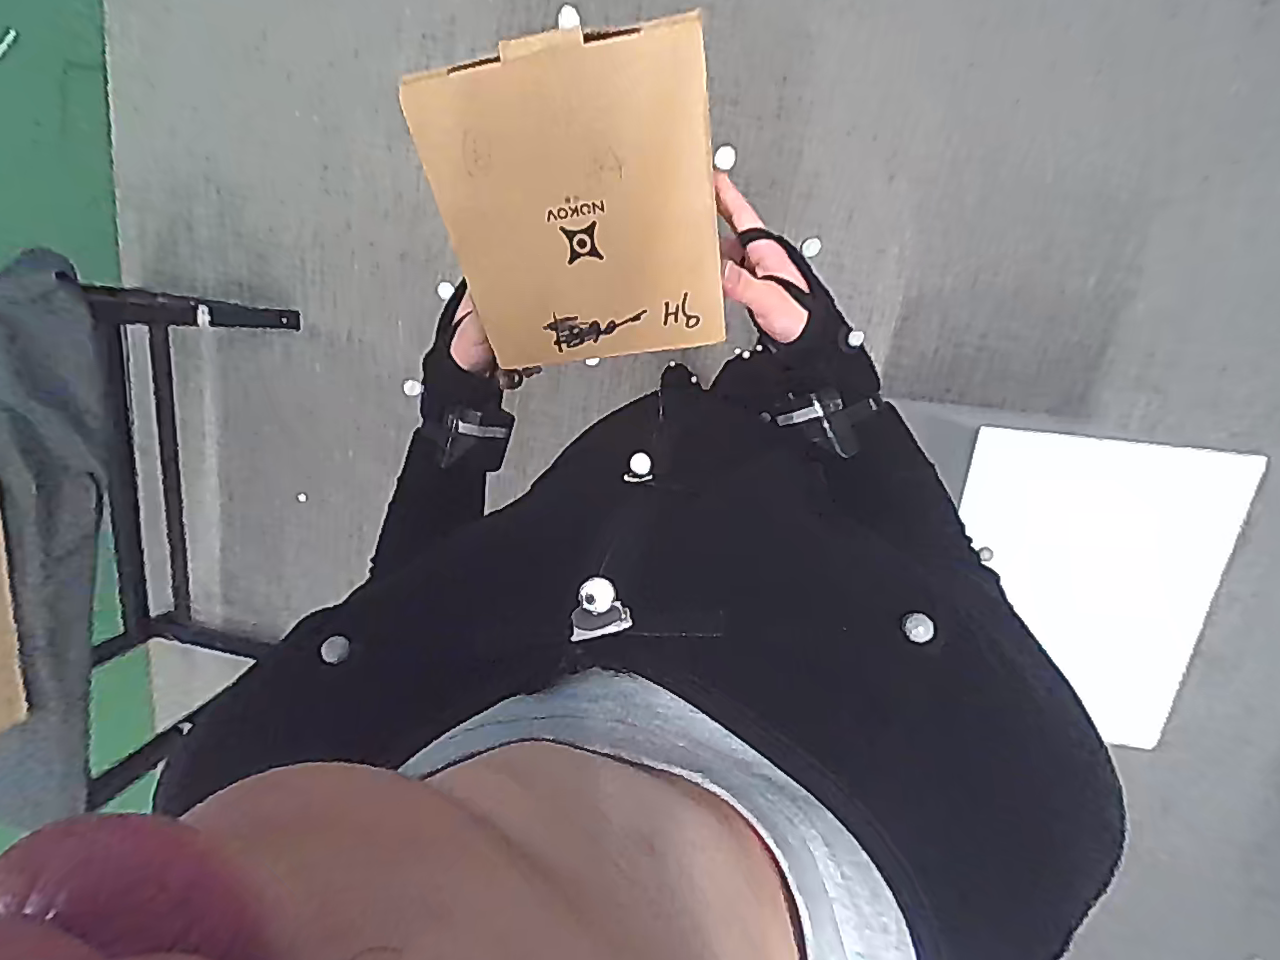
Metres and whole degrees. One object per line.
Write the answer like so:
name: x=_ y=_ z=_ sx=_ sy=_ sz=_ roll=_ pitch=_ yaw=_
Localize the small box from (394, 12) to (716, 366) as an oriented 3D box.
small box: x=-0.036 y=-0.207 z=0.392 sx=0.168 sy=0.176 sz=0.179 roll=-5 pitch=129 yaw=10
